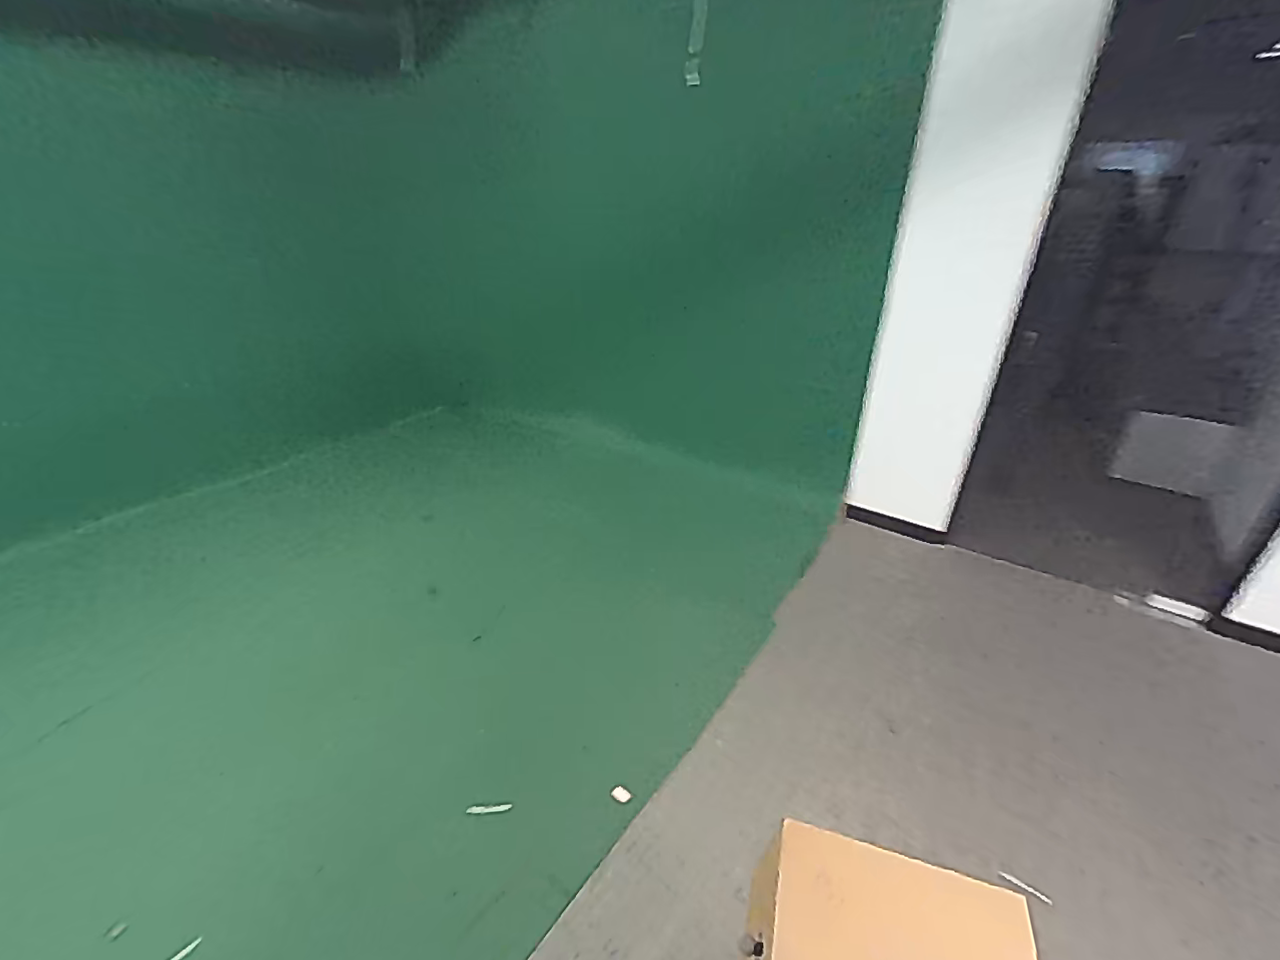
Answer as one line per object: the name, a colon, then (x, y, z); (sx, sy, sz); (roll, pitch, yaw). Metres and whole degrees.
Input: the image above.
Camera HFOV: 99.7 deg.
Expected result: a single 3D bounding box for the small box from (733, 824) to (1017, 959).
small box: (0.154, 0.393, 0.391); (0.168, 0.176, 0.179); (11, 45, 12)
